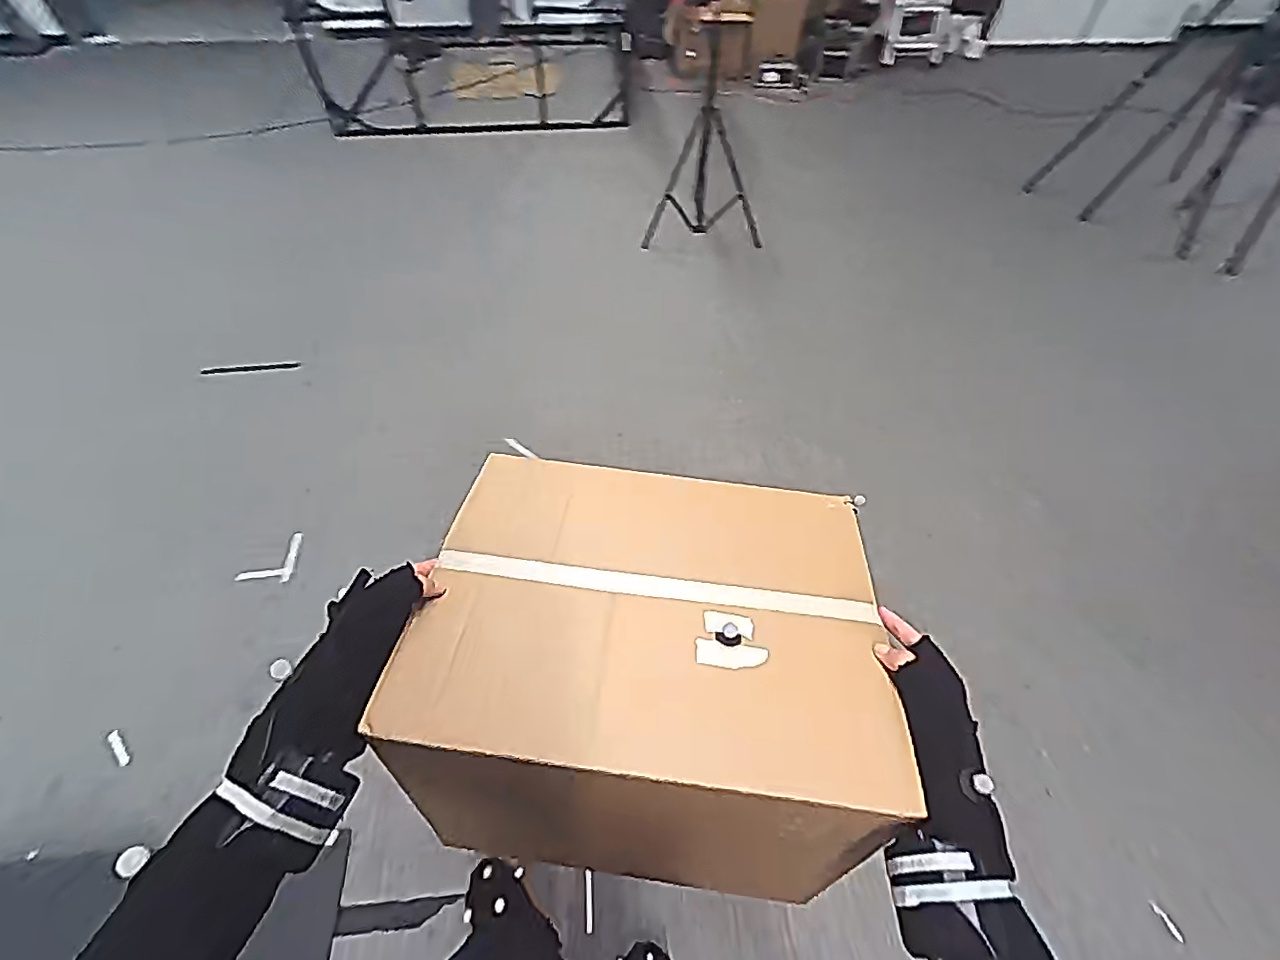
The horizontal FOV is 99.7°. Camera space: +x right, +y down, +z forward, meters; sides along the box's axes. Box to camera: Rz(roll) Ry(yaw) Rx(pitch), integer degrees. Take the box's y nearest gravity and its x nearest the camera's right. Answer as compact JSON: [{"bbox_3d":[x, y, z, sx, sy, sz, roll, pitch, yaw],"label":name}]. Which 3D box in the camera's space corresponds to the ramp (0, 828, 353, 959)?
[{"bbox_3d":[-1.122,0.973,1.004,0.991,0.206,0.509,-5,51,-5],"label":"ramp"}]

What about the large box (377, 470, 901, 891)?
[{"bbox_3d":[0.000,0.220,0.608,0.408,0.320,0.320,7,43,2],"label":"large box"}]
